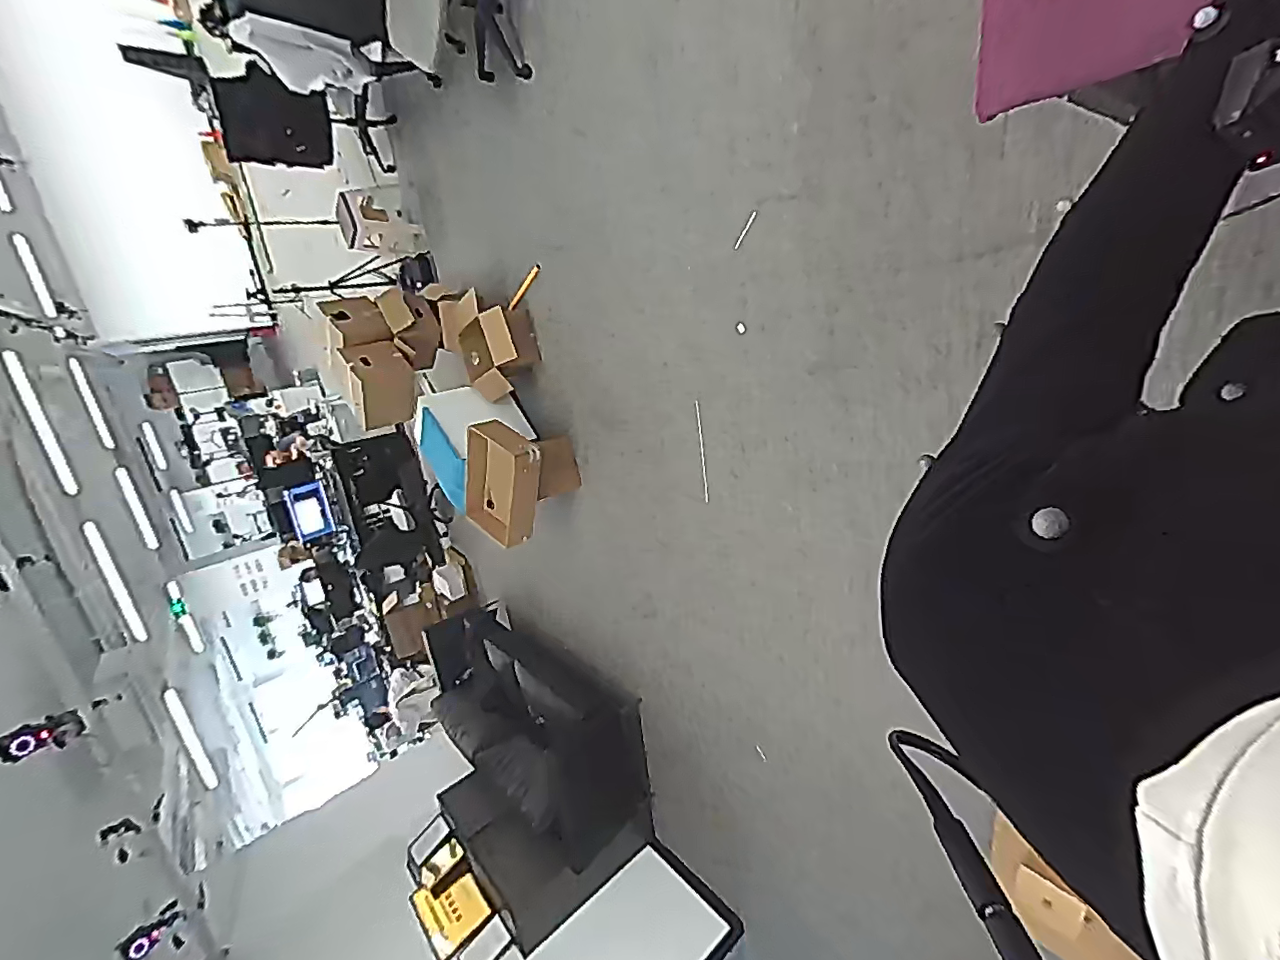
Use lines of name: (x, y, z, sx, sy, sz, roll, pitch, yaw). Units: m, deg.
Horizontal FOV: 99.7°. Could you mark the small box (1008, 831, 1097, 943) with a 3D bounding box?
small box: (1.247, 1.218, 1.633, 0.168, 0.176, 0.179, 19, 122, 46)
